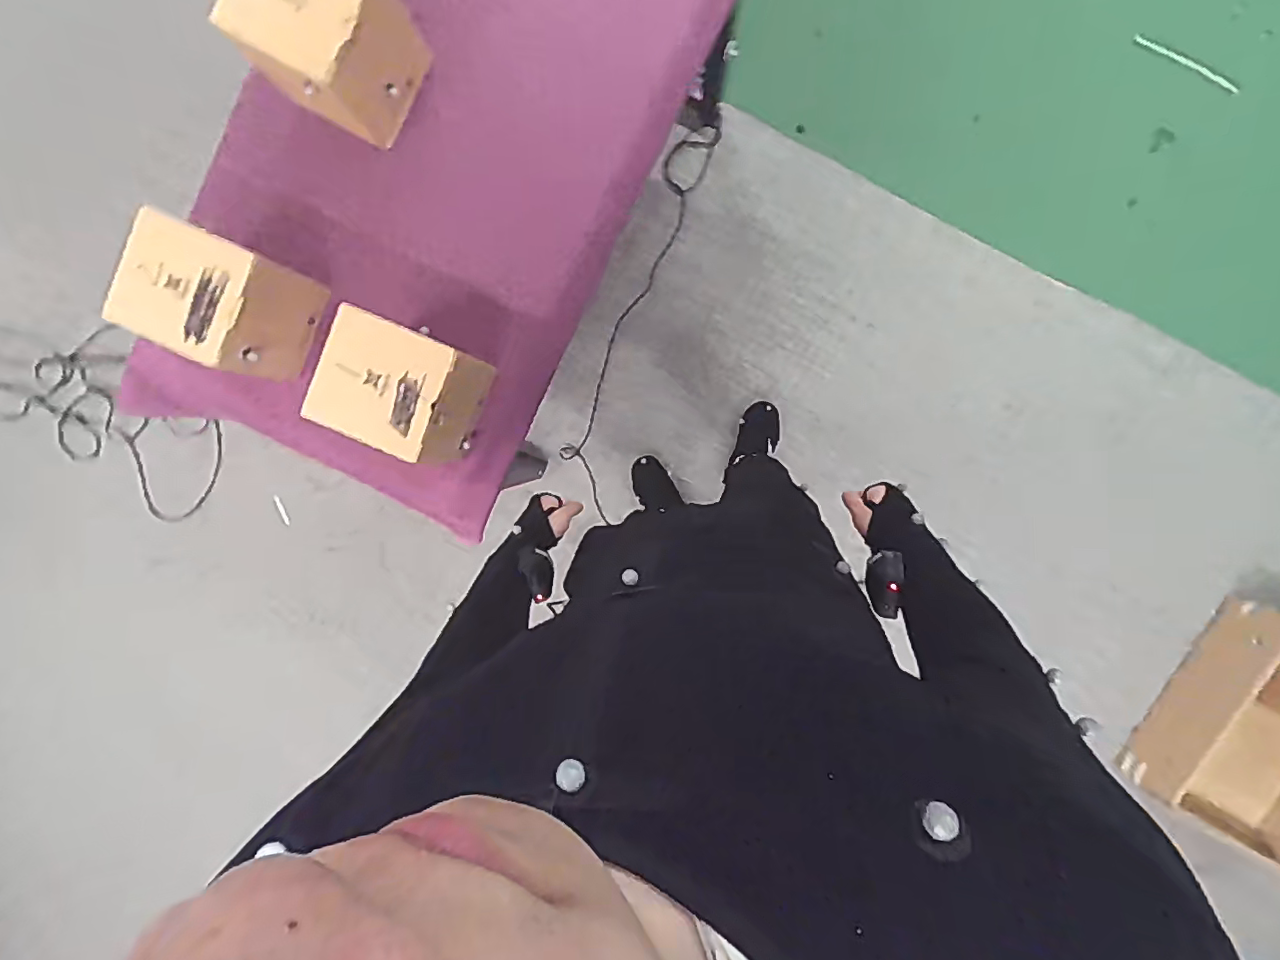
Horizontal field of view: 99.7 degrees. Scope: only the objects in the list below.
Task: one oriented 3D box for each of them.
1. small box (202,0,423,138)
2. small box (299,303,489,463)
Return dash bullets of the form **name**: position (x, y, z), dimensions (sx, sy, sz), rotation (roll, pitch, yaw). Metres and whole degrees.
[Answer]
- **small box**: position (-0.450, -0.636, 0.771), dimensions (0.179, 0.176, 0.168), rotation (28, 95, -2)
- **small box**: position (-0.349, -0.136, 0.803), dimensions (0.179, 0.176, 0.168), rotation (23, 95, 2)
